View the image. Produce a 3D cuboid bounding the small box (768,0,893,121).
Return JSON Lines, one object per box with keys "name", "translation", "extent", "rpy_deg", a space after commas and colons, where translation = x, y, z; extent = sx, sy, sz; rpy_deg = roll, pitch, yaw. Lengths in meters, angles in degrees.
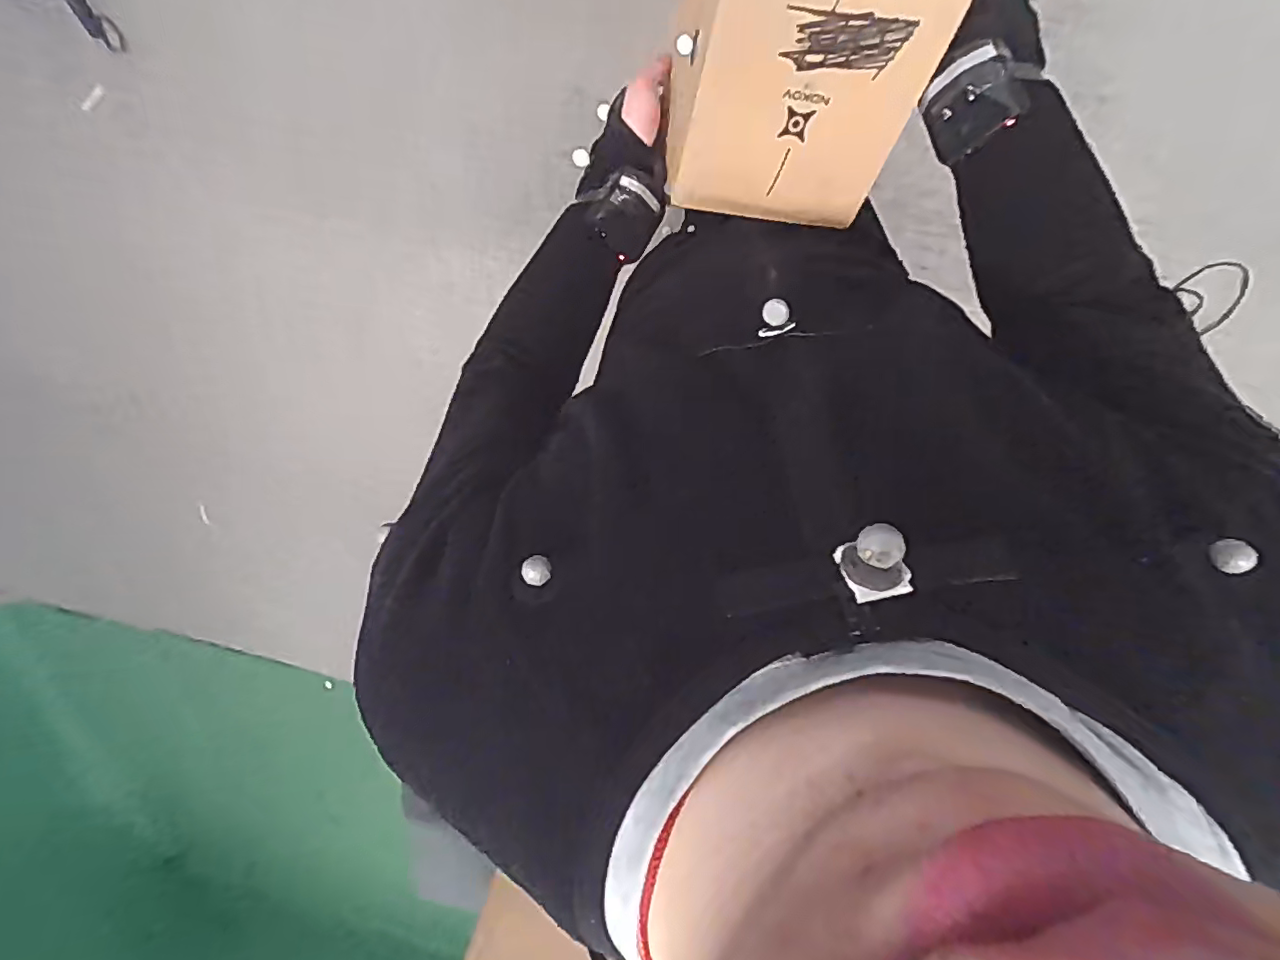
{"name": "small box", "translation": [0.371, -0.850, 1.079], "extent": [0.179, 0.176, 0.168], "rpy_deg": [-29, 113, 24]}
